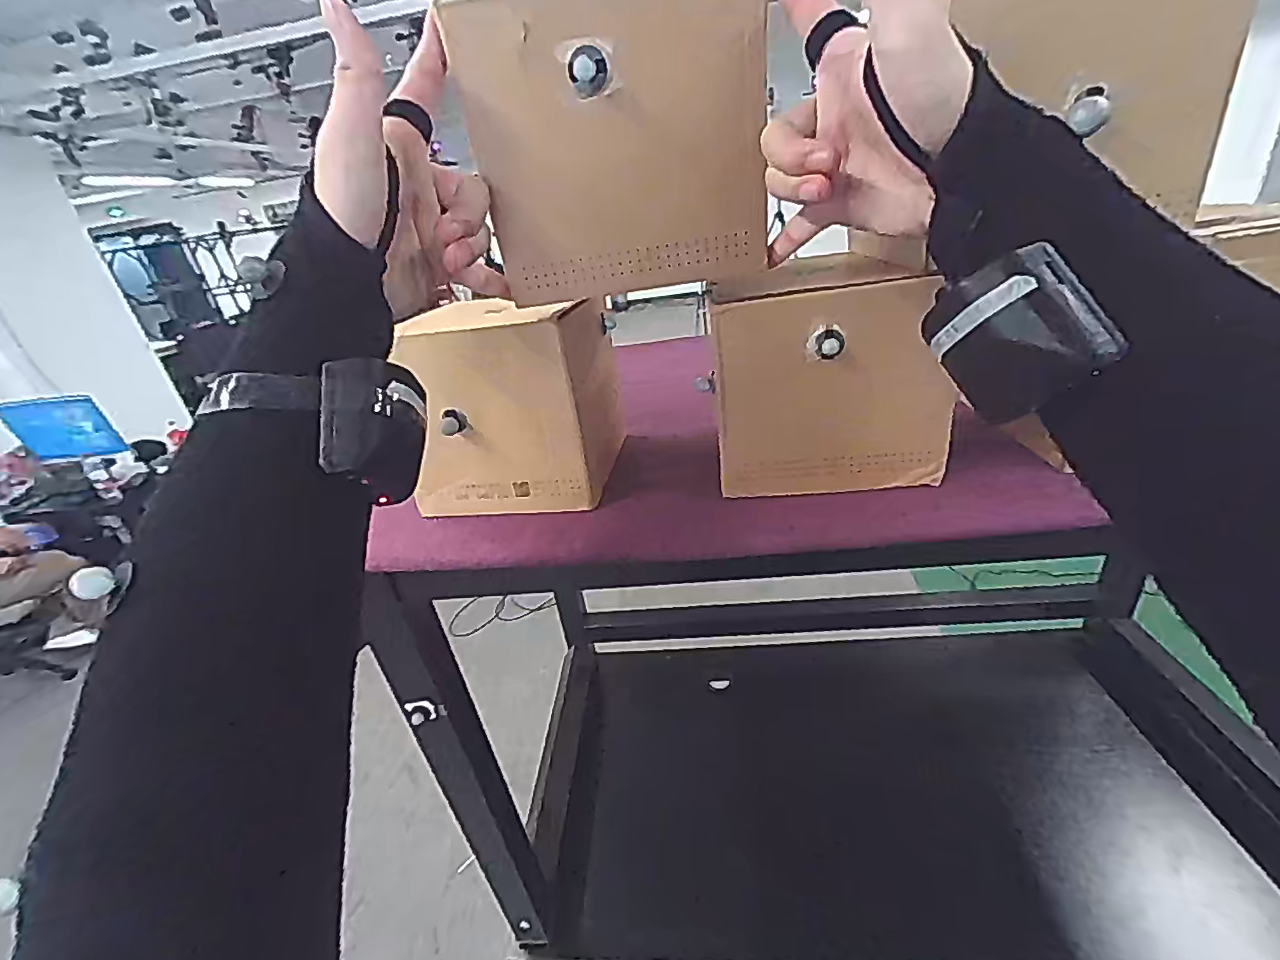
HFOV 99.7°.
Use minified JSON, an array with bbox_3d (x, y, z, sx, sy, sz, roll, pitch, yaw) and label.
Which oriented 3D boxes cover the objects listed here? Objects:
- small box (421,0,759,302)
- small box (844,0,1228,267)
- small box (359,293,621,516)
[{"bbox_3d":[-0.018,-0.237,0.384,0.179,0.176,0.168,-8,35,4],"label":"small box"},{"bbox_3d":[0.255,-0.256,0.388,0.168,0.176,0.179,-6,27,5],"label":"small box"},{"bbox_3d":[-0.120,-0.073,0.518,0.168,0.176,0.179,-4,26,11],"label":"small box"}]
